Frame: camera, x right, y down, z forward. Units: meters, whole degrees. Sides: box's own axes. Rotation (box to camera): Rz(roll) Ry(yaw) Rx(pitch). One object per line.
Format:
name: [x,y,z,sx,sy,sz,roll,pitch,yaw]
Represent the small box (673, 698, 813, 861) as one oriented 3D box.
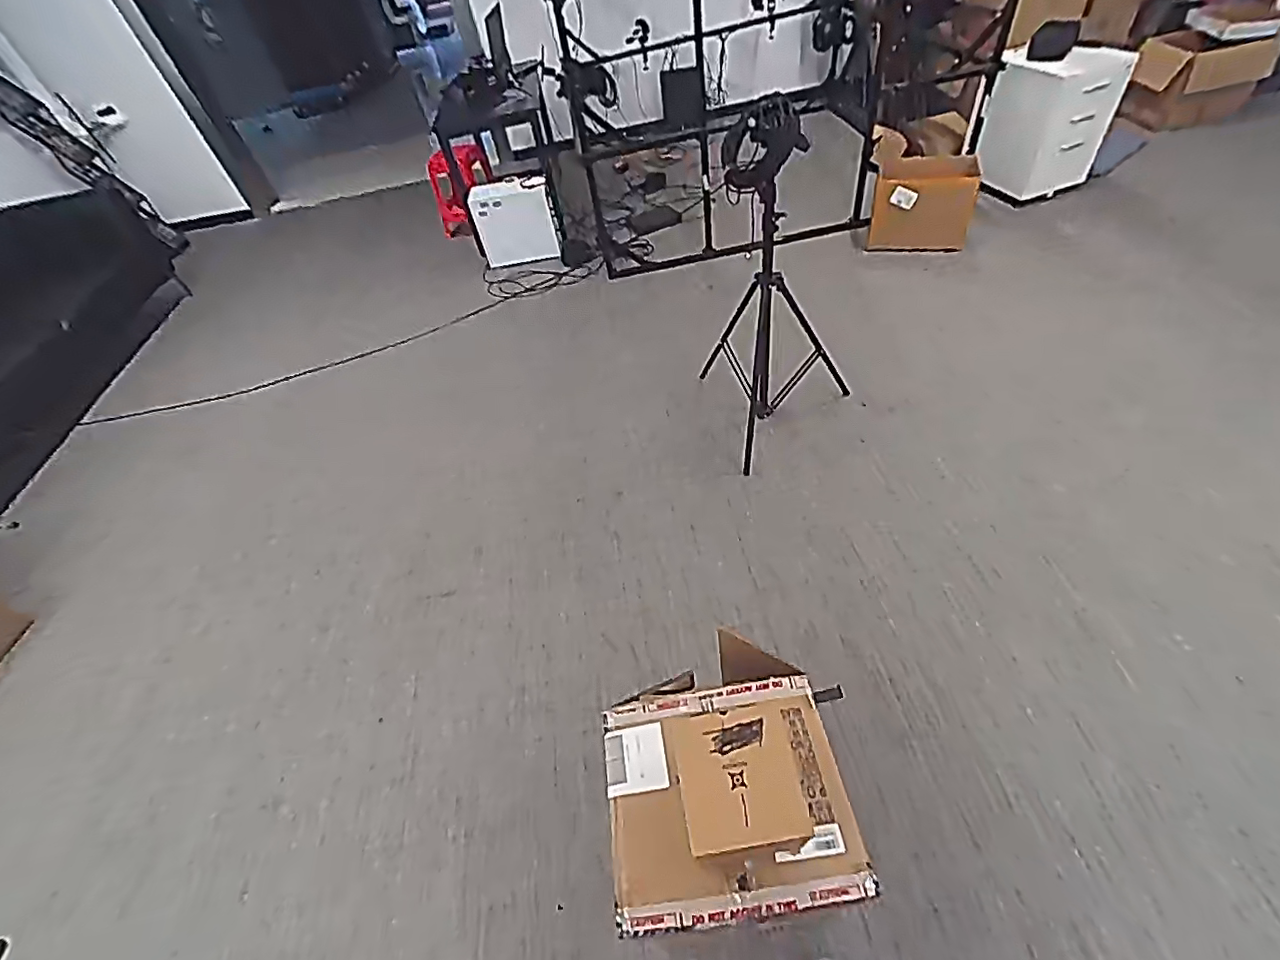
small box: [0.148,0.459,0.825,0.168,0.176,0.179,-11,51,1]
